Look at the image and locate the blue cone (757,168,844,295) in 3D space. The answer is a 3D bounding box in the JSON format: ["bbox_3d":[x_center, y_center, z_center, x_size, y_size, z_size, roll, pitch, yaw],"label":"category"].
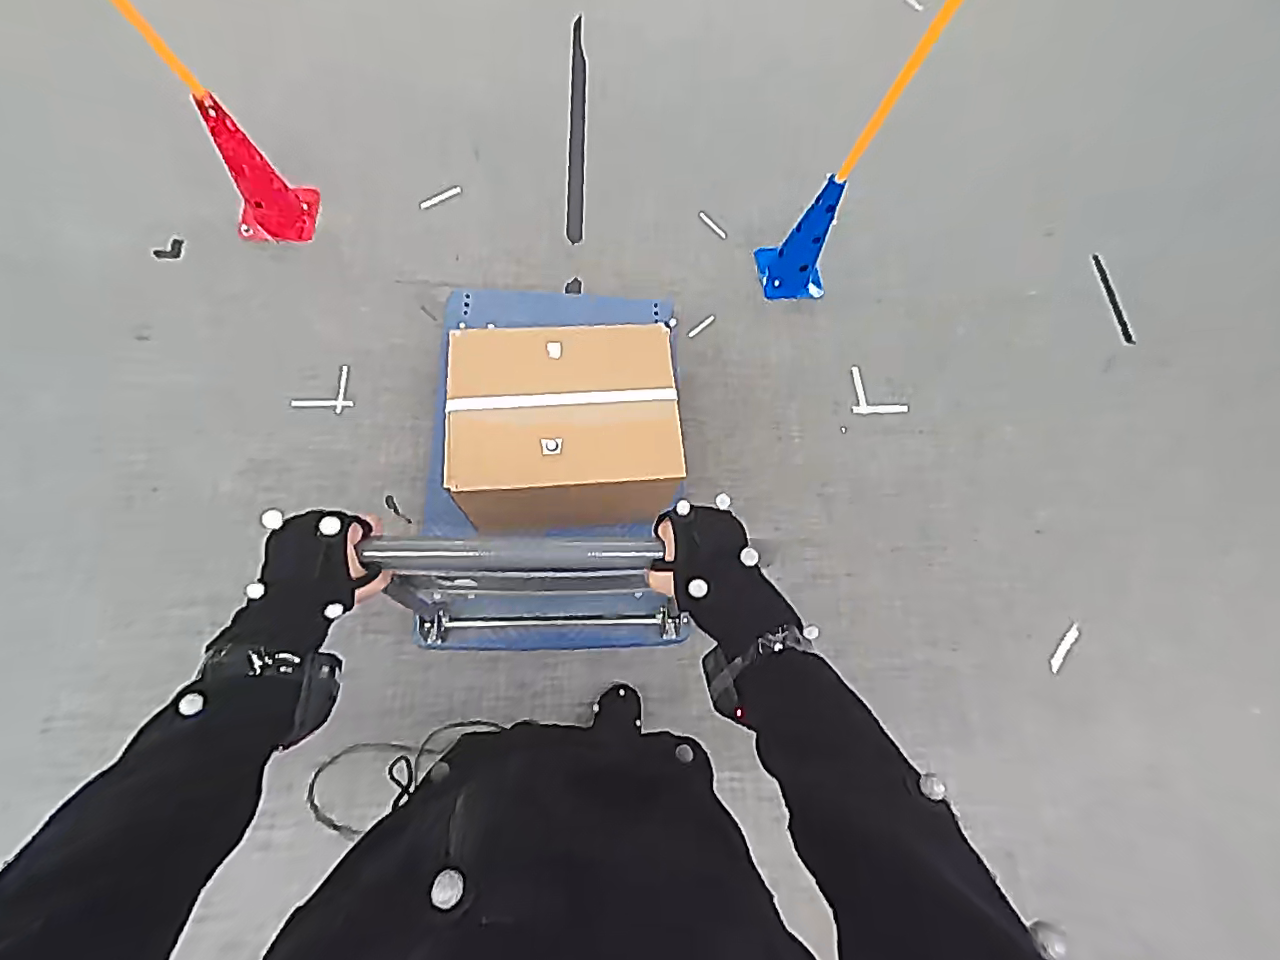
[{"bbox_3d":[0.497,-0.723,1.573,0.193,0.380,0.192,-3,70,-8],"label":"blue cone"}]
